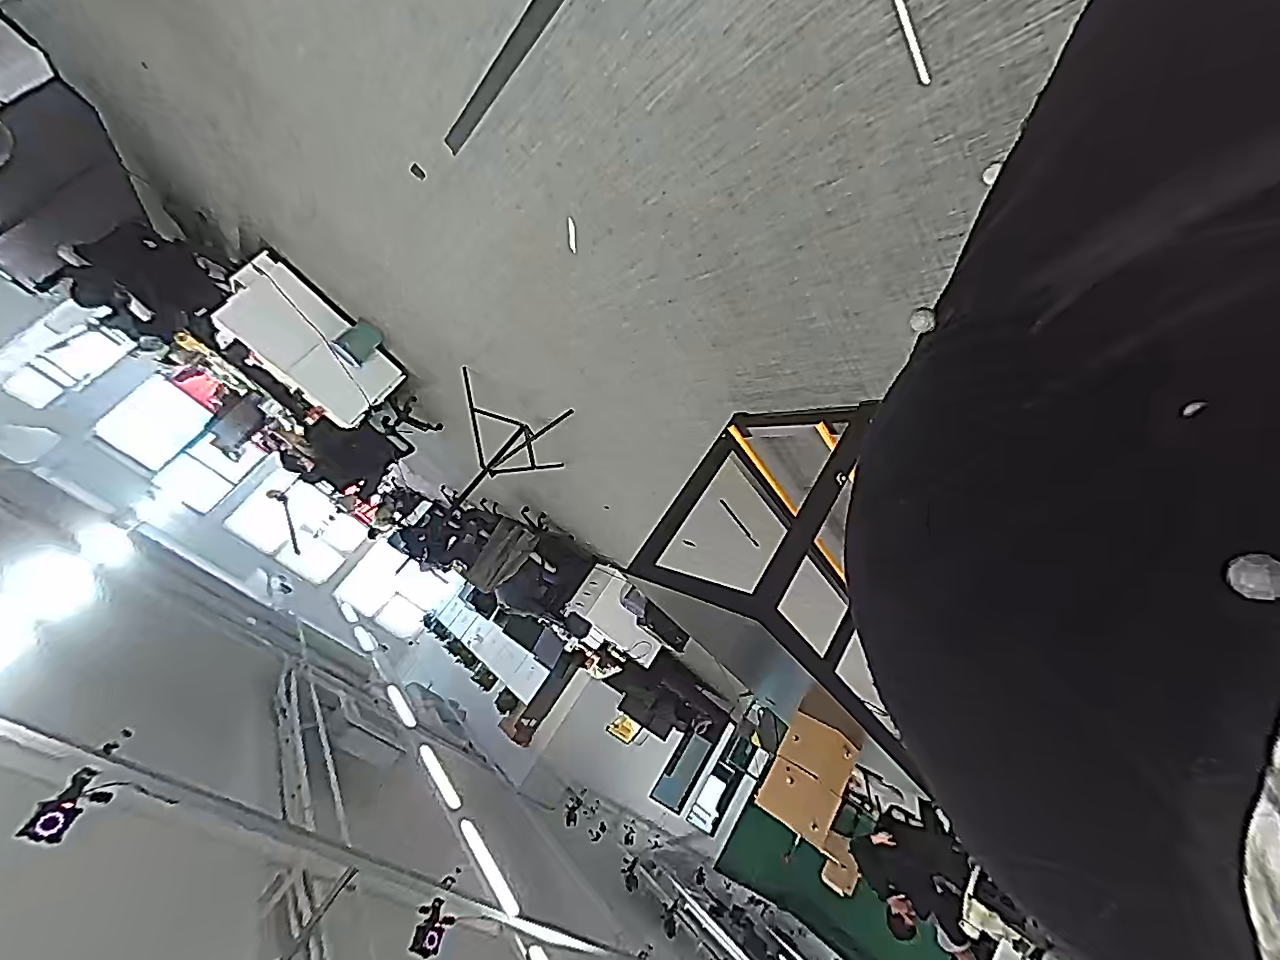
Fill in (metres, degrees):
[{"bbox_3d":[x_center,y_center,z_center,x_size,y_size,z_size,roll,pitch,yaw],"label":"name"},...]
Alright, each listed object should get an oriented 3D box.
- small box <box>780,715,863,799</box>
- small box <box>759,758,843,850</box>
[{"bbox_3d":[0.617,0.927,1.829,0.168,0.176,0.179,45,158,-26],"label":"small box"},{"bbox_3d":[0.531,1.054,1.770,0.179,0.176,0.168,46,159,-25],"label":"small box"}]
